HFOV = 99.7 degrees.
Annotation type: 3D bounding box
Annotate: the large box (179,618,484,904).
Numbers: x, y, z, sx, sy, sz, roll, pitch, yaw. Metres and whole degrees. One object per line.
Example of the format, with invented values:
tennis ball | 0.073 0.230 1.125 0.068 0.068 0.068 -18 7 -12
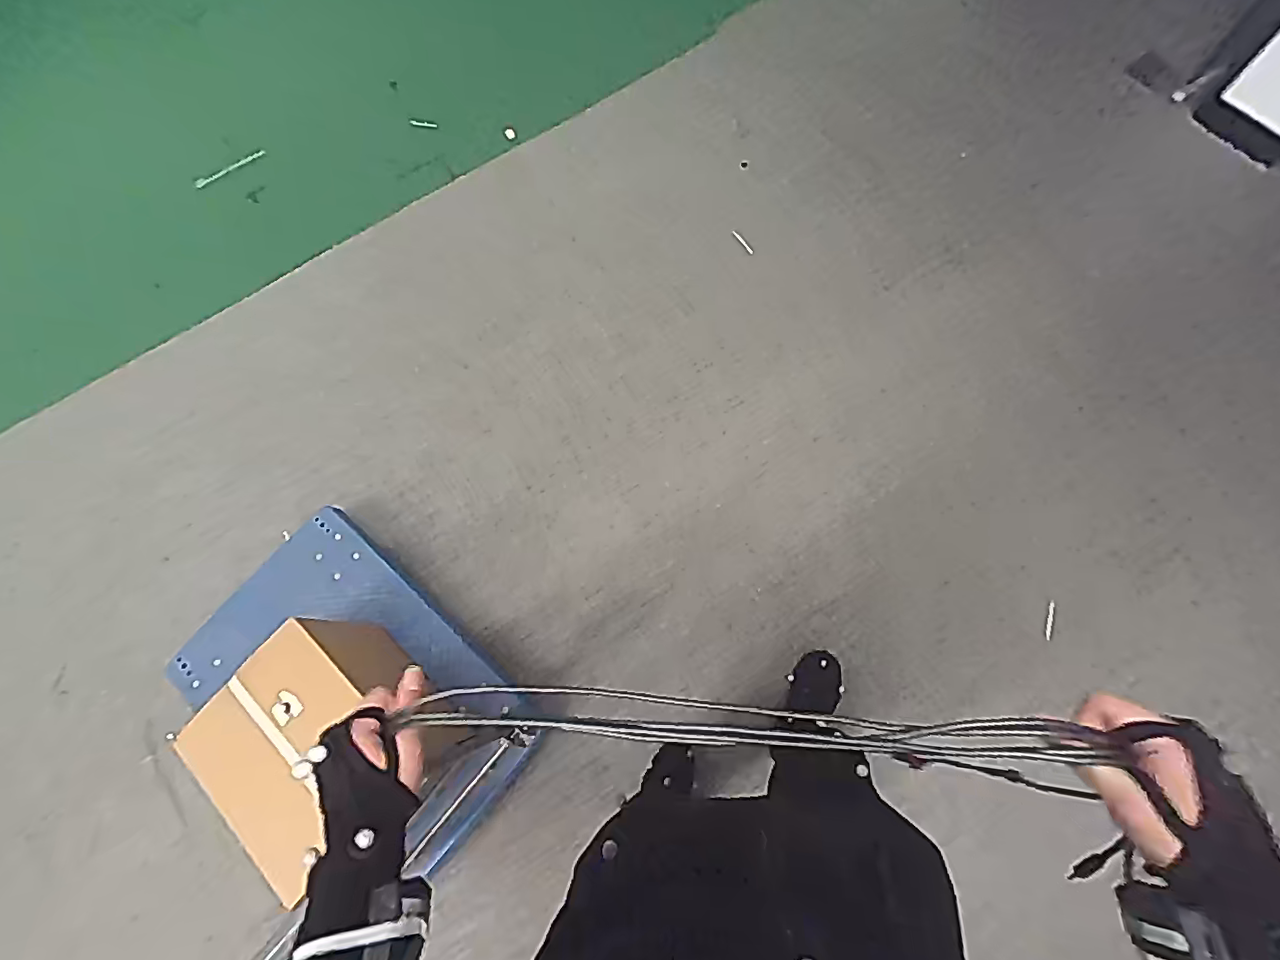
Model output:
large box | -0.618 0.547 1.141 0.408 0.320 0.320 38 79 17
